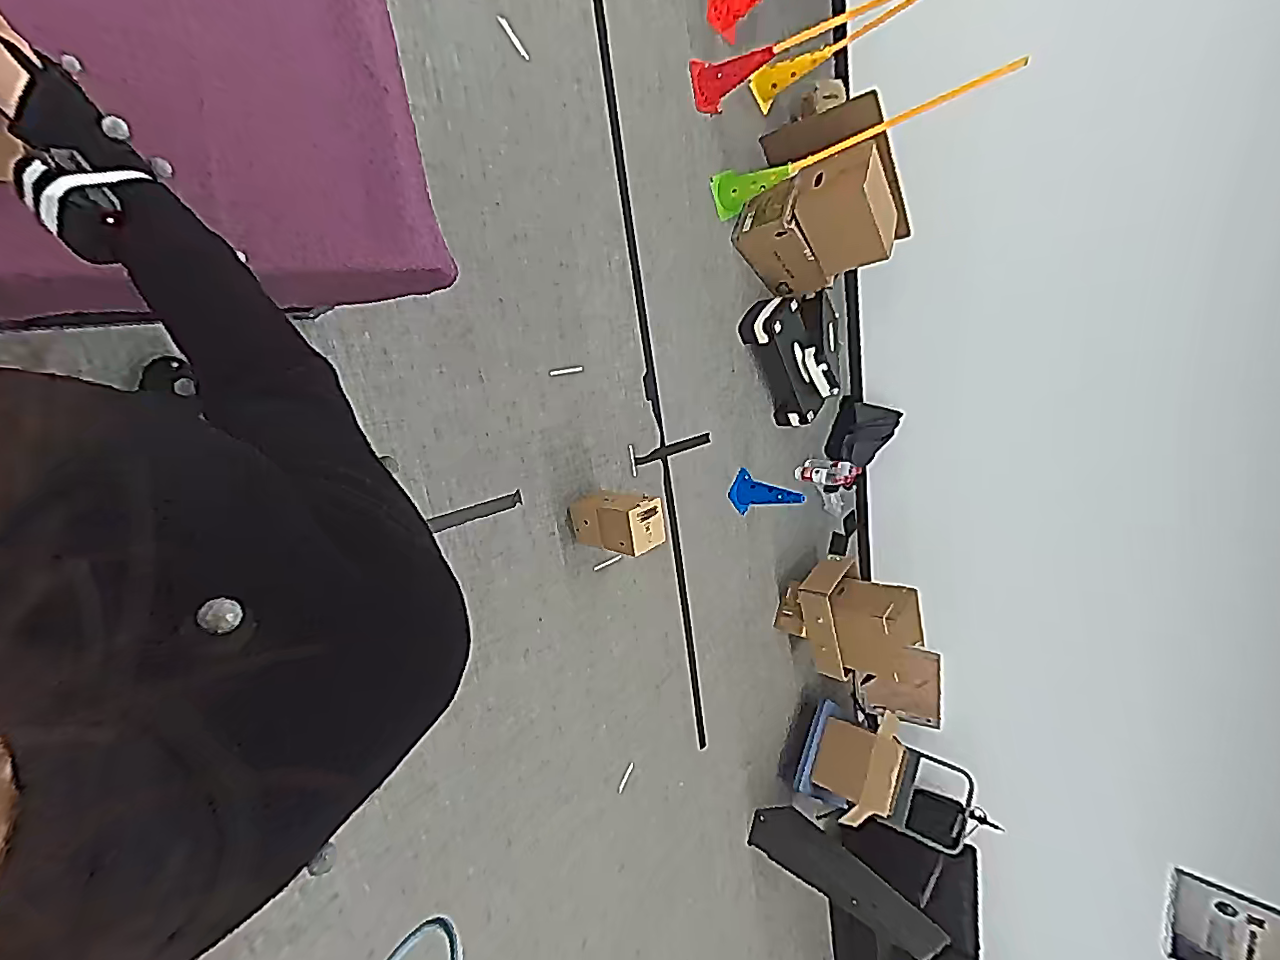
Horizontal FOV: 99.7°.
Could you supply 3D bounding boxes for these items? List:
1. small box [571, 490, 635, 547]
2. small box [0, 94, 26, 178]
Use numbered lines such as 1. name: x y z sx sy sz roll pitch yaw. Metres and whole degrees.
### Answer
1. small box: -0.152 0.144 2.097 0.179 0.176 0.168 -26 112 -40
2. small box: -0.699 -0.377 0.469 0.179 0.176 0.168 -27 113 -41
